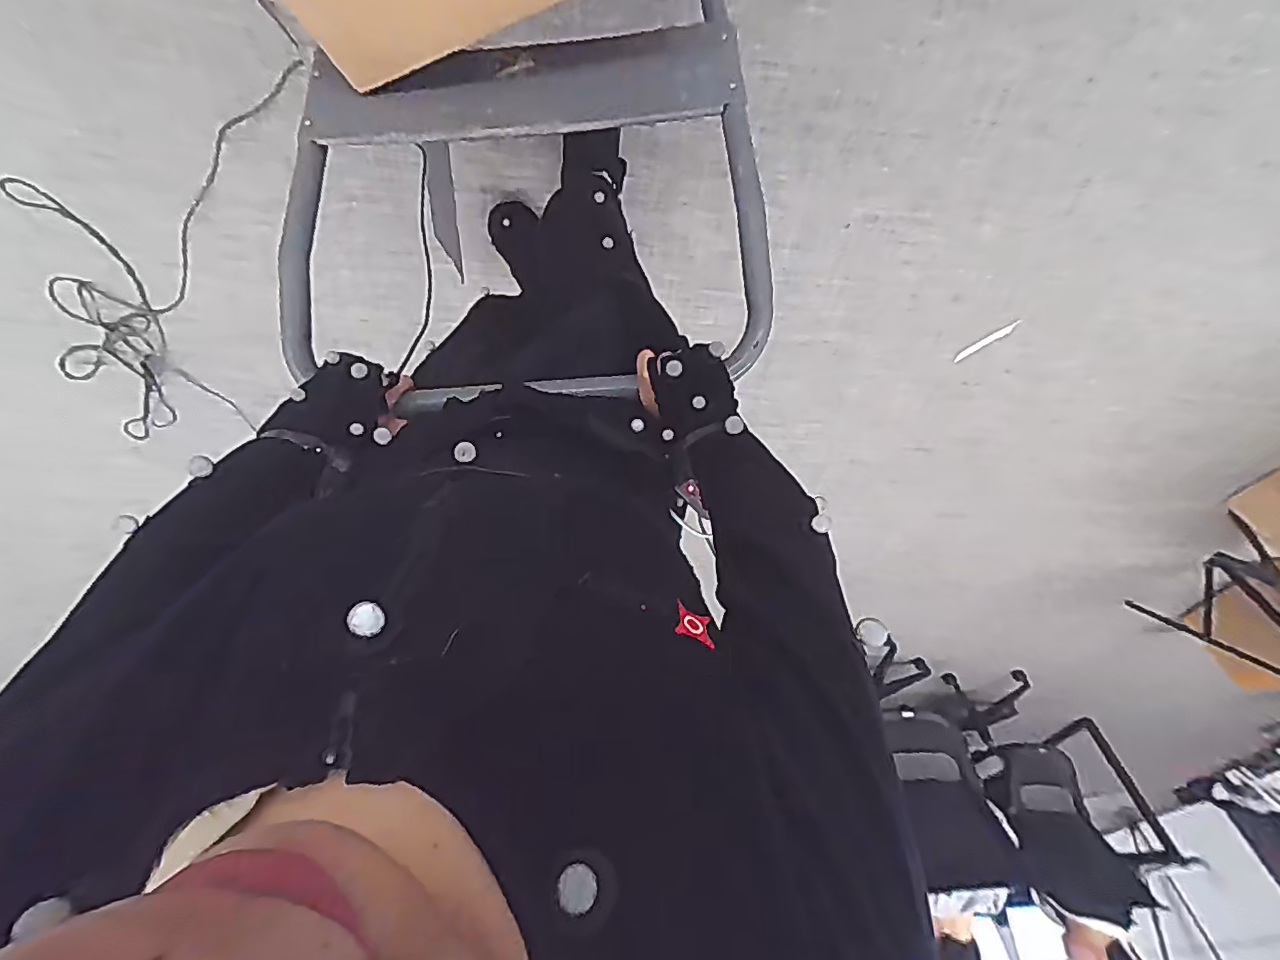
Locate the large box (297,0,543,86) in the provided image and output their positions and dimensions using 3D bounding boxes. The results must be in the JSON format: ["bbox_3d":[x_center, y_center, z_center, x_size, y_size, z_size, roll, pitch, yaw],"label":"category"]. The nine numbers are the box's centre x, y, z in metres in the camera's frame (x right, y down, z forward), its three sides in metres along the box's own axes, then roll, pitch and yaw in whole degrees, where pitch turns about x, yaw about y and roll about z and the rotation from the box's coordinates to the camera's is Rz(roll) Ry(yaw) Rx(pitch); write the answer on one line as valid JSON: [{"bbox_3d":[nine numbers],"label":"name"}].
[{"bbox_3d":[-0.193,-0.681,0.495,0.408,0.320,0.320,-12,157,16],"label":"large box"}]
